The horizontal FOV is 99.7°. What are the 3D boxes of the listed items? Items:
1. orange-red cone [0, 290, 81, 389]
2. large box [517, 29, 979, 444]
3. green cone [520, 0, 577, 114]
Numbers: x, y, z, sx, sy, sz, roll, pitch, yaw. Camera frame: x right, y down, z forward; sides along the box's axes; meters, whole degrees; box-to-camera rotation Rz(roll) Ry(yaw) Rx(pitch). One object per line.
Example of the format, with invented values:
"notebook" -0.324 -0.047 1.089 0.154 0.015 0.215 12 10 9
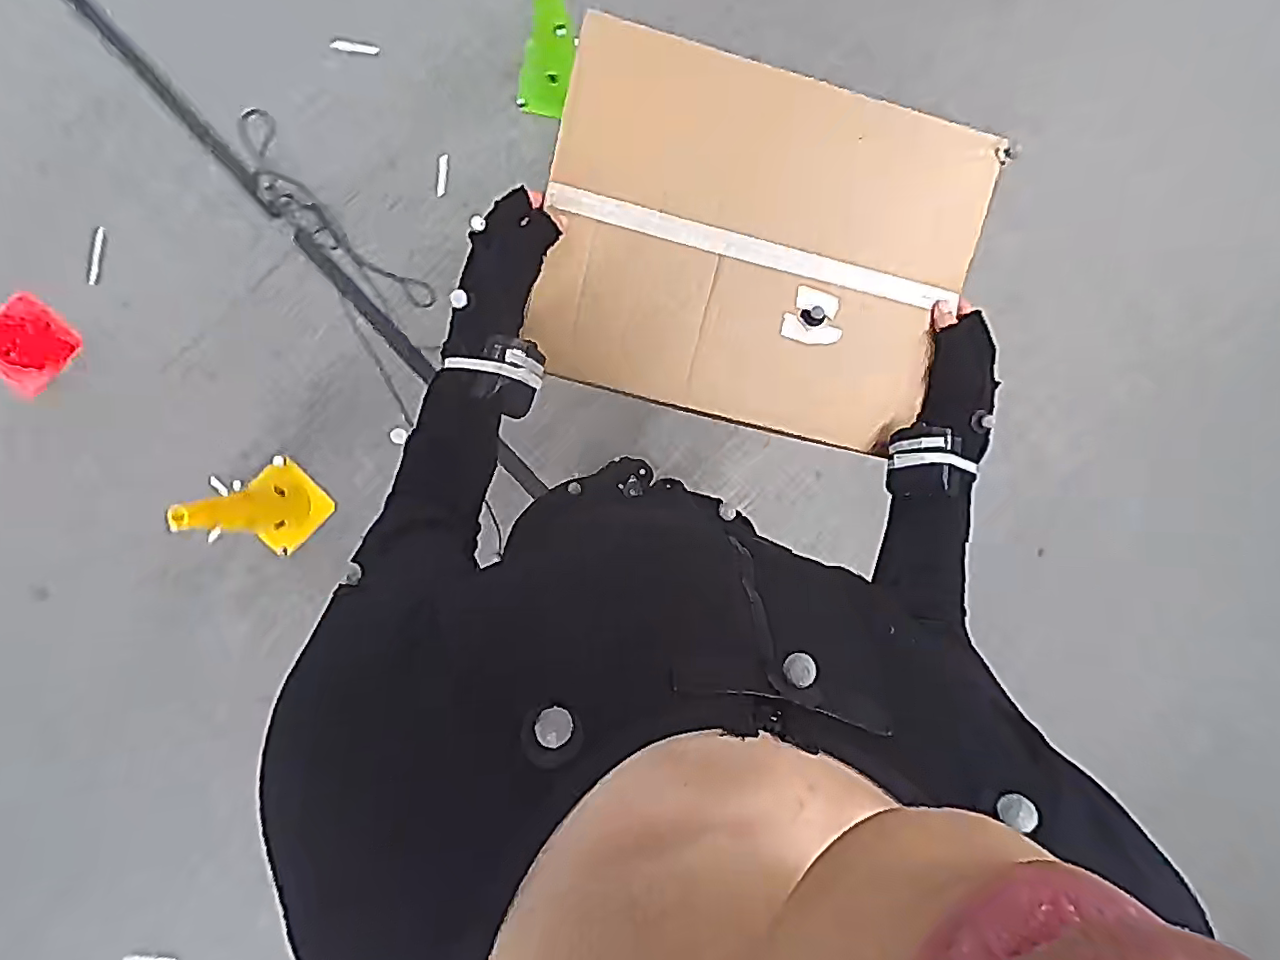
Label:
"orange-red cone" -1.550 -0.351 1.212 0.199 0.360 0.198 44 89 -5
"large box" 0.092 -0.240 0.663 0.408 0.320 0.320 12 98 -6
"green cone" -0.197 -1.077 1.278 0.200 0.368 0.202 9 89 -4
